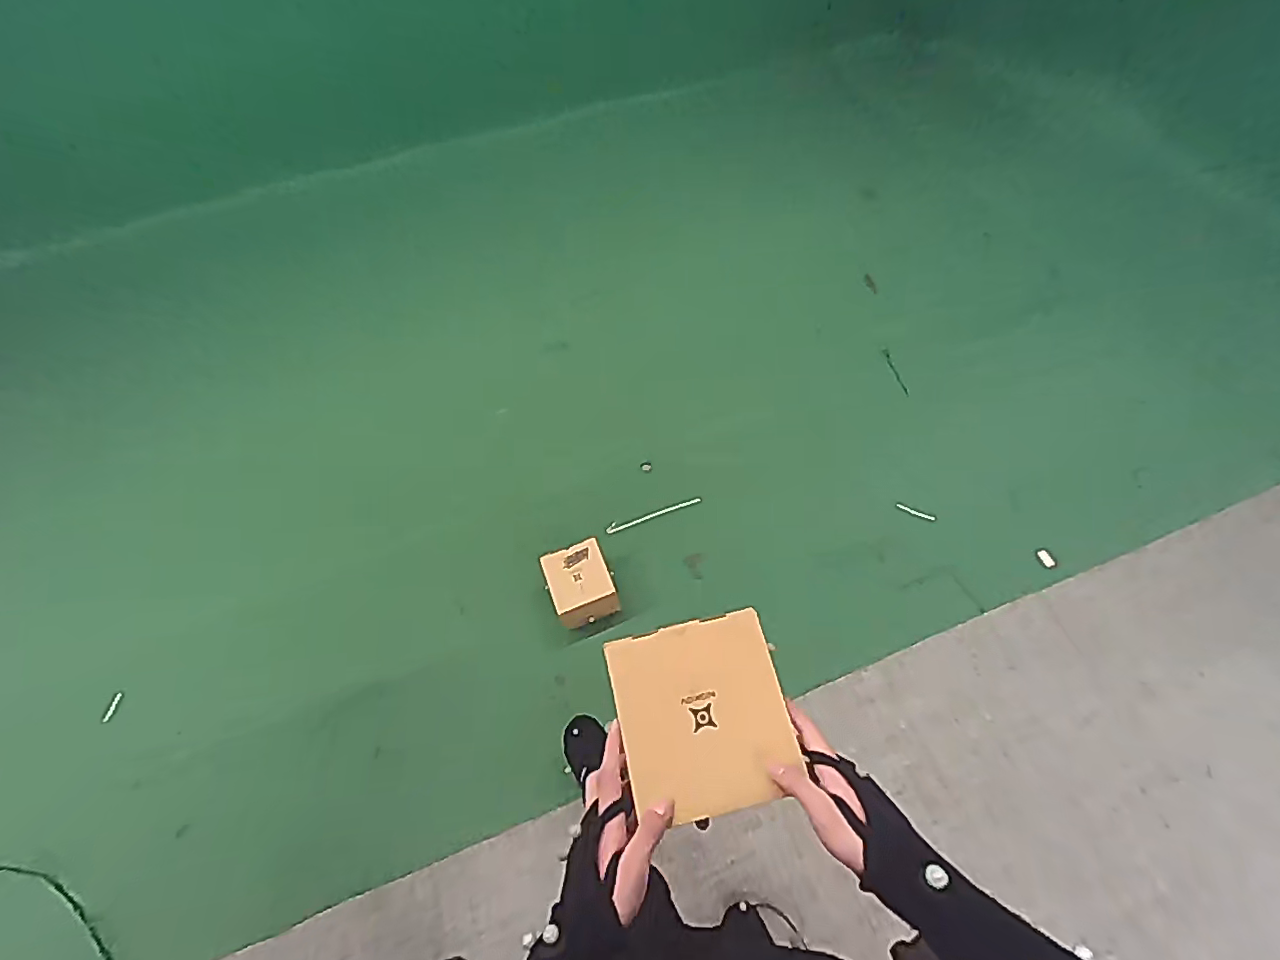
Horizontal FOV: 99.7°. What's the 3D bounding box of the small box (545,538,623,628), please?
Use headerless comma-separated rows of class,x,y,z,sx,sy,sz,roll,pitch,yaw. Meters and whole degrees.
small box,-0.156,0.296,1.536,0.168,0.176,0.179,-21,62,-8
